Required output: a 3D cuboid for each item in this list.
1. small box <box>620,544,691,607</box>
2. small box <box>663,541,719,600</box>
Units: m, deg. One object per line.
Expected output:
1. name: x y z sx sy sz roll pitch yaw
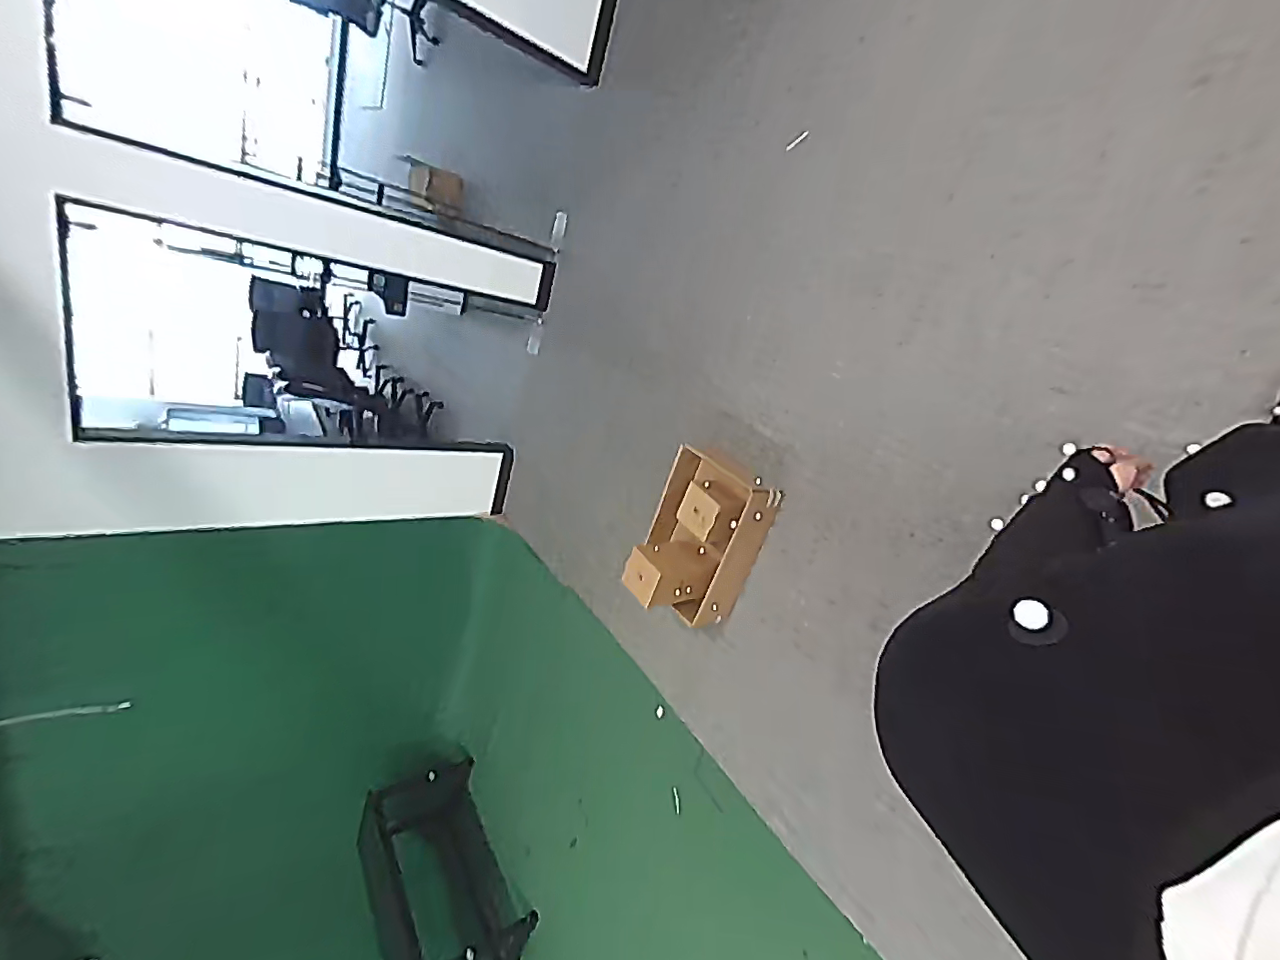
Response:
1. small box: 0.059 0.358 2.060 0.179 0.176 0.168 41 120 41
2. small box: 0.181 0.355 2.167 0.179 0.176 0.168 42 121 42
